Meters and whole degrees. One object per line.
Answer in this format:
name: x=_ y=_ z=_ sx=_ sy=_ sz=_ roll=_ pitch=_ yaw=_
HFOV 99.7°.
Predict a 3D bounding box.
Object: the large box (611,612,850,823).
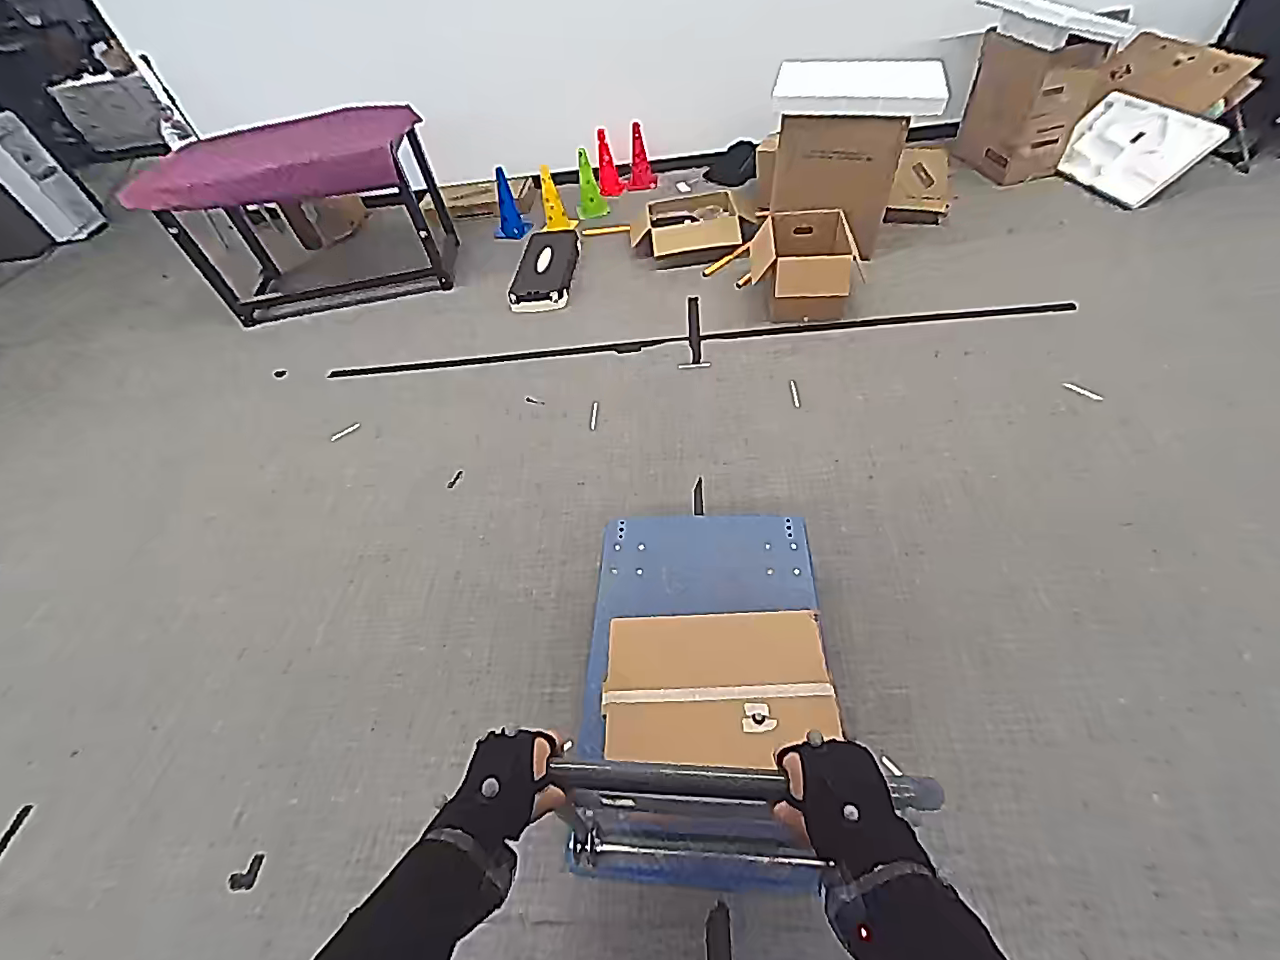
large box: x=0.157 y=0.489 z=1.100 sx=0.408 sy=0.320 sz=0.320 roll=-4 pitch=50 yaw=4
